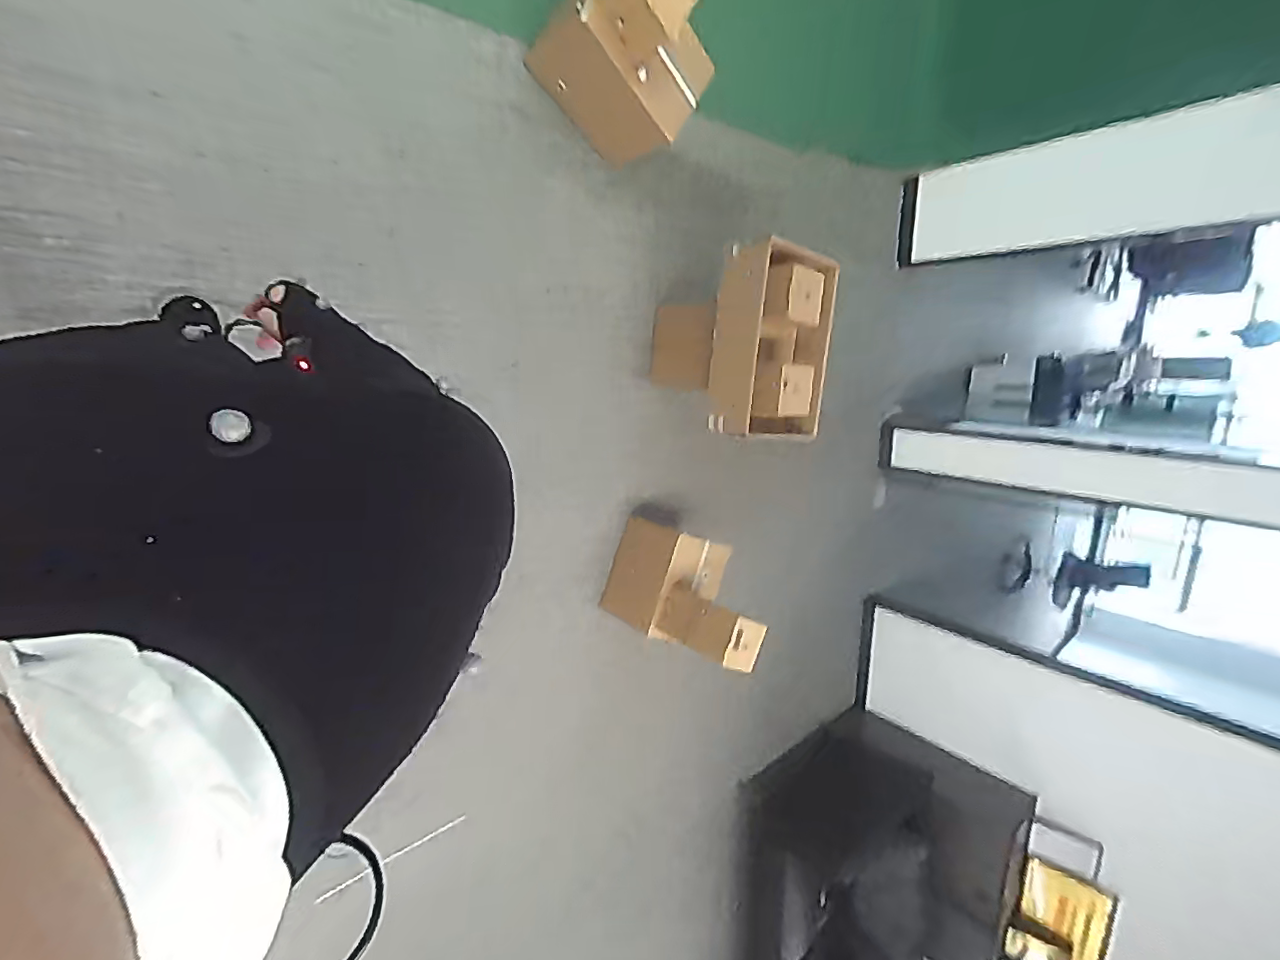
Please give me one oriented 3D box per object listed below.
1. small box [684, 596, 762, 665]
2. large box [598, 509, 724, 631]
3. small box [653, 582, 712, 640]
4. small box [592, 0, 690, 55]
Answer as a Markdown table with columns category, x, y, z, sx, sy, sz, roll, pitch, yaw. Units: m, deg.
| category | x | y | z | sx | sy | sz | roll | pitch | yaw |
| --- | --- | --- | --- | --- | --- | --- | --- | --- | --- |
| small box | 0.281 | 0.509 | 1.847 | 0.179 | 0.176 | 0.168 | 28 | 82 | -41 |
| large box | 0.080 | 0.366 | 2.187 | 0.320 | 0.320 | 0.408 | 19 | 88 | -42 |
| small box | 0.181 | 0.486 | 1.975 | 0.179 | 0.176 | 0.168 | 27 | 82 | -39 |
| small box | 0.008 | -1.251 | 1.385 | 0.168 | 0.176 | 0.179 | 37 | 78 | -41 |
